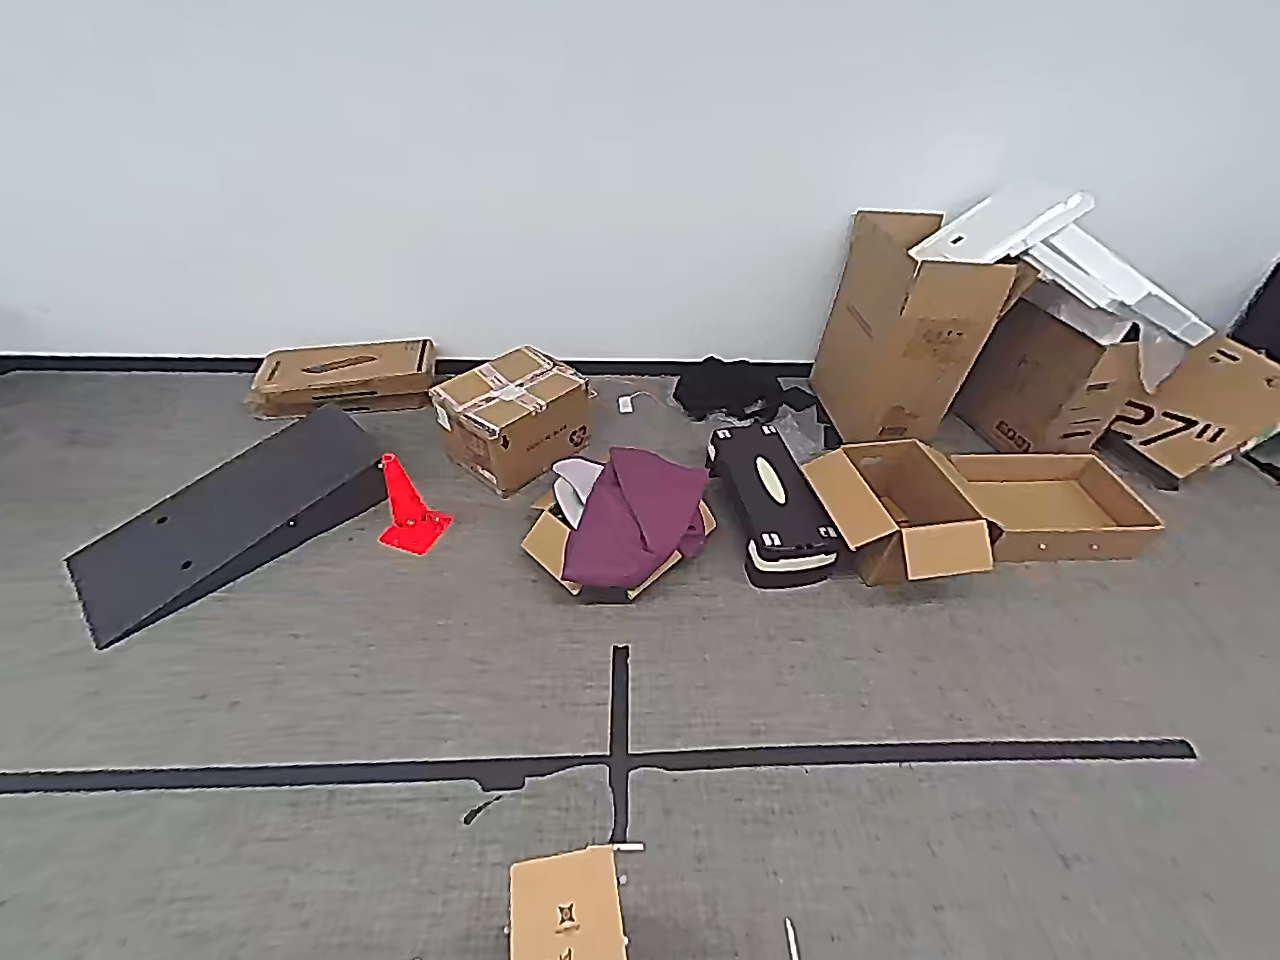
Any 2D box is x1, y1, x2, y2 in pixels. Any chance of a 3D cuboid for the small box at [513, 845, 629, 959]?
[{"bbox_3d":[-0.108,0.713,0.854,0.168,0.176,0.179,-7,44,-8],"label":"small box"}]
